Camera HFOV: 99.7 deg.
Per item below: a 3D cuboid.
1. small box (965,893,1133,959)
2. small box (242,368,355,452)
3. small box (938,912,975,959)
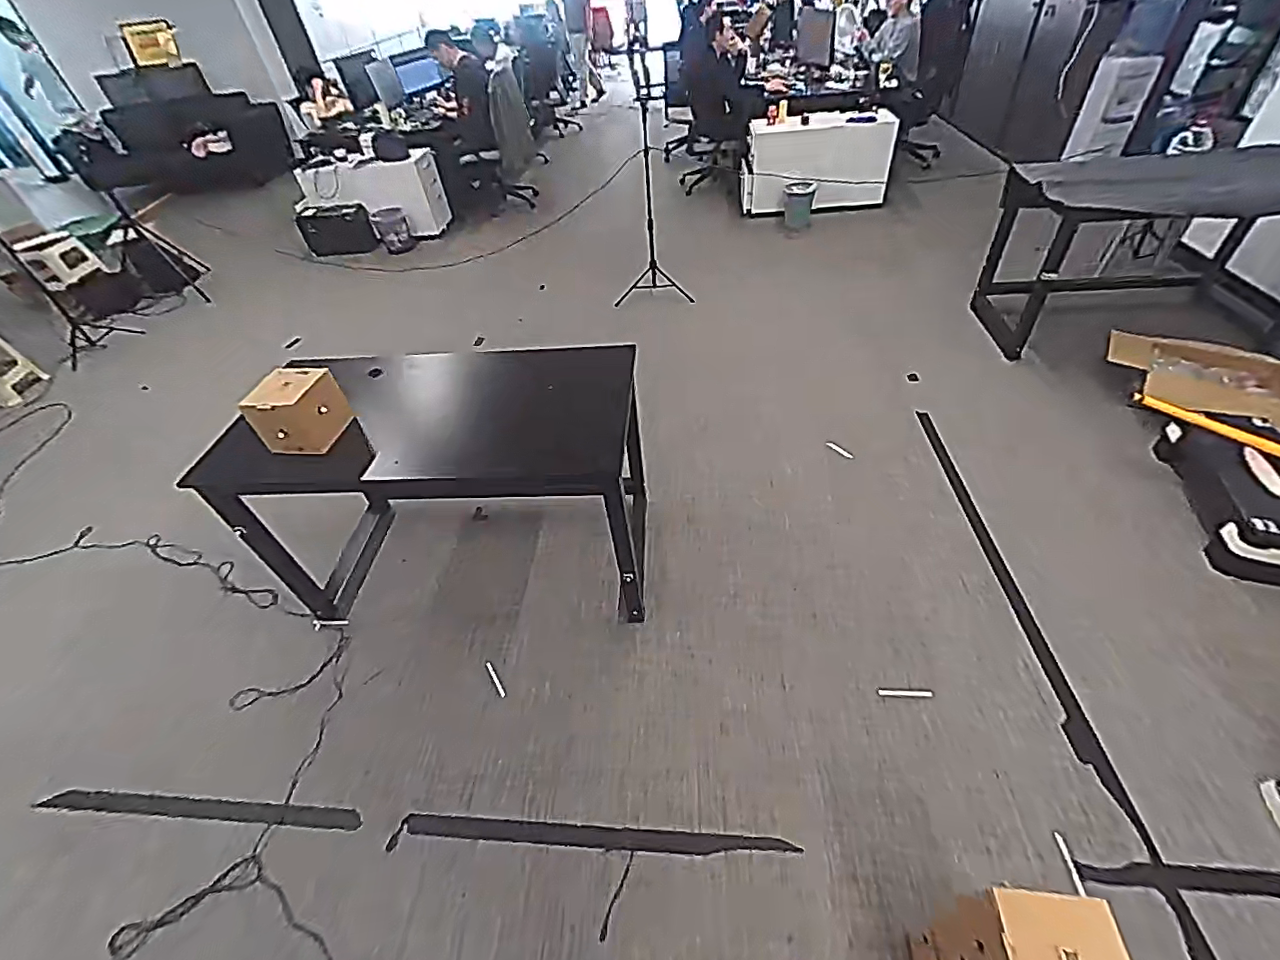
[{"bbox_3d":[0.665,0.790,0.874,0.179,0.176,0.168,0,46,8],"label":"small box"},{"bbox_3d":[-0.930,-0.191,1.495,0.168,0.176,0.179,2,45,9],"label":"small box"},{"bbox_3d":[0.671,0.912,0.981,0.168,0.176,0.179,-1,46,6],"label":"small box"}]
